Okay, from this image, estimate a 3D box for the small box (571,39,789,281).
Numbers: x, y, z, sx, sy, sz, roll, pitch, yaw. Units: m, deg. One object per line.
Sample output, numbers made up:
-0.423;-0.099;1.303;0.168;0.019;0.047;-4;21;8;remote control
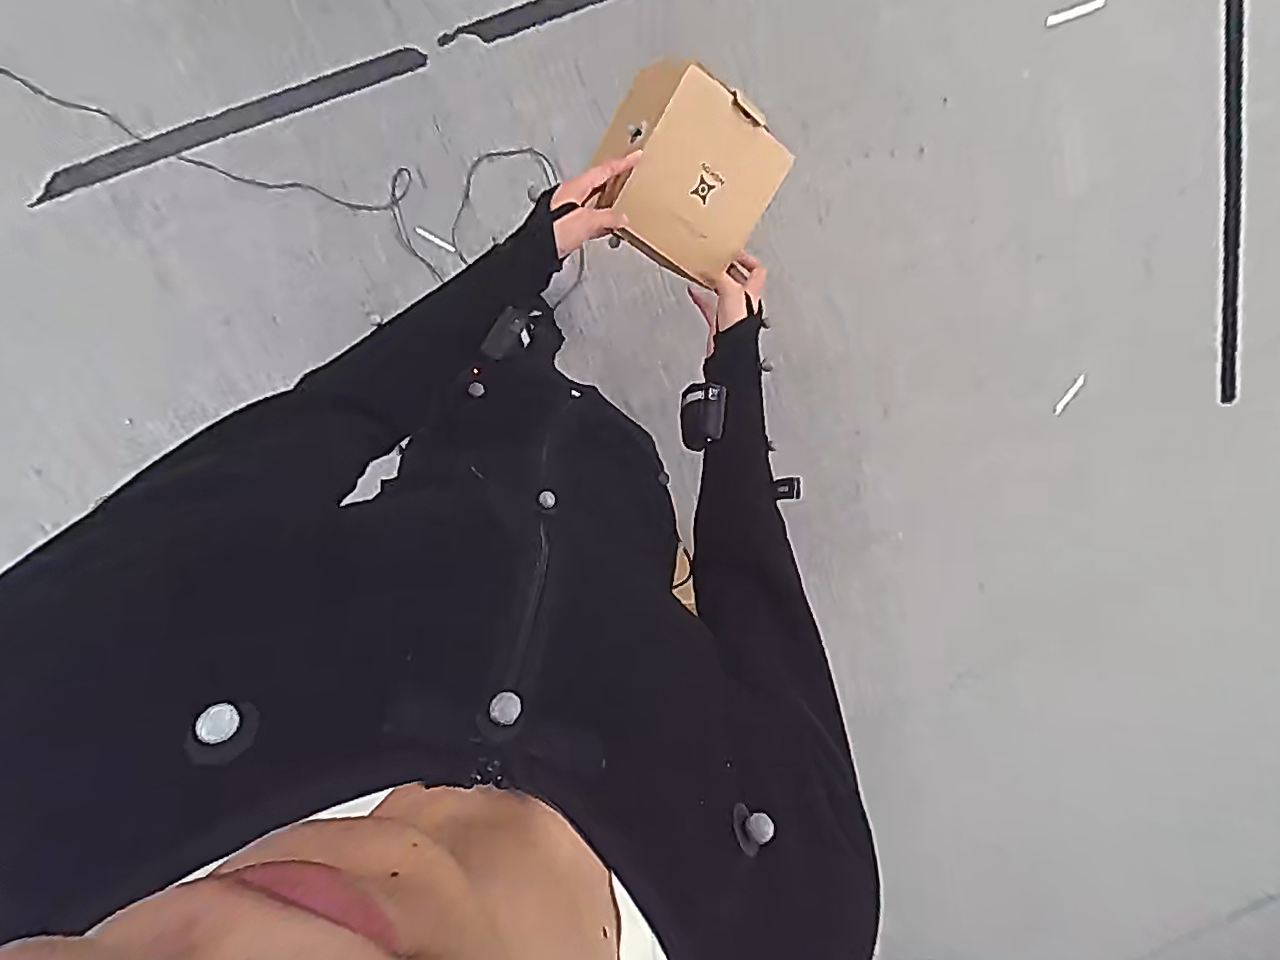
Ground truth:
0.036;-0.375;0.657;0.168;0.176;0.179;21;109;-32;small box
